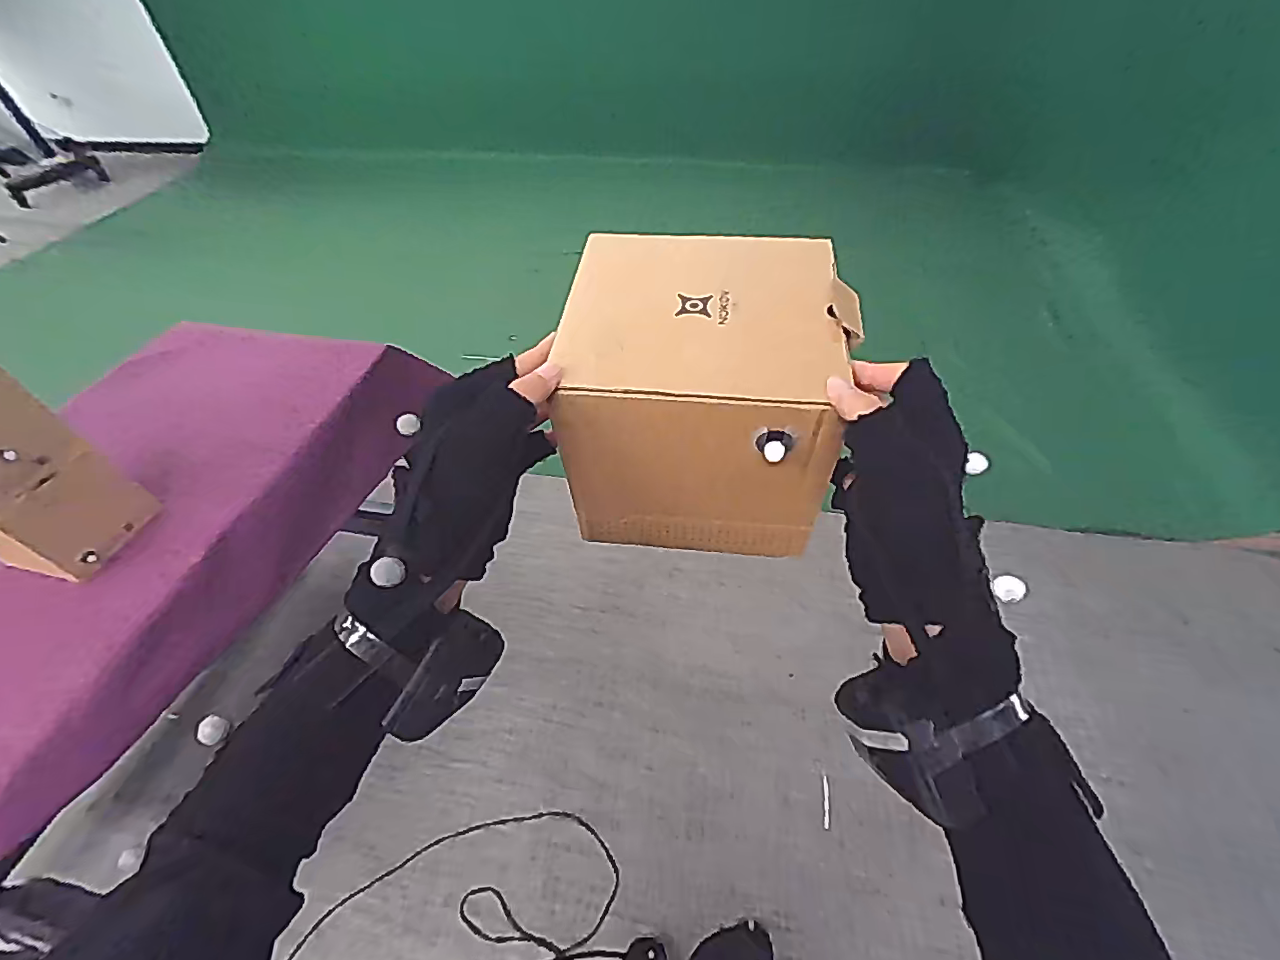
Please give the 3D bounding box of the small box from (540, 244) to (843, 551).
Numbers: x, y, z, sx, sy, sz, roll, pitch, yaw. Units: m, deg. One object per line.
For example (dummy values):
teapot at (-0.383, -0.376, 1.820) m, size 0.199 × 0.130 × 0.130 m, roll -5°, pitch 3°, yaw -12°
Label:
small box at (0.040, -0.059, 0.416) m, size 0.179 × 0.176 × 0.168 m, roll 4°, pitch 52°, yaw 6°

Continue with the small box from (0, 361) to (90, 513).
small box at (-0.983, -0.065, 0.776) m, size 0.179 × 0.176 × 0.168 m, roll 9°, pitch 50°, yaw 11°

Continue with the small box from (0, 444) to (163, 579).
small box at (-0.968, 0.045, 0.898) m, size 0.179 × 0.176 × 0.168 m, roll 9°, pitch 49°, yaw 12°
